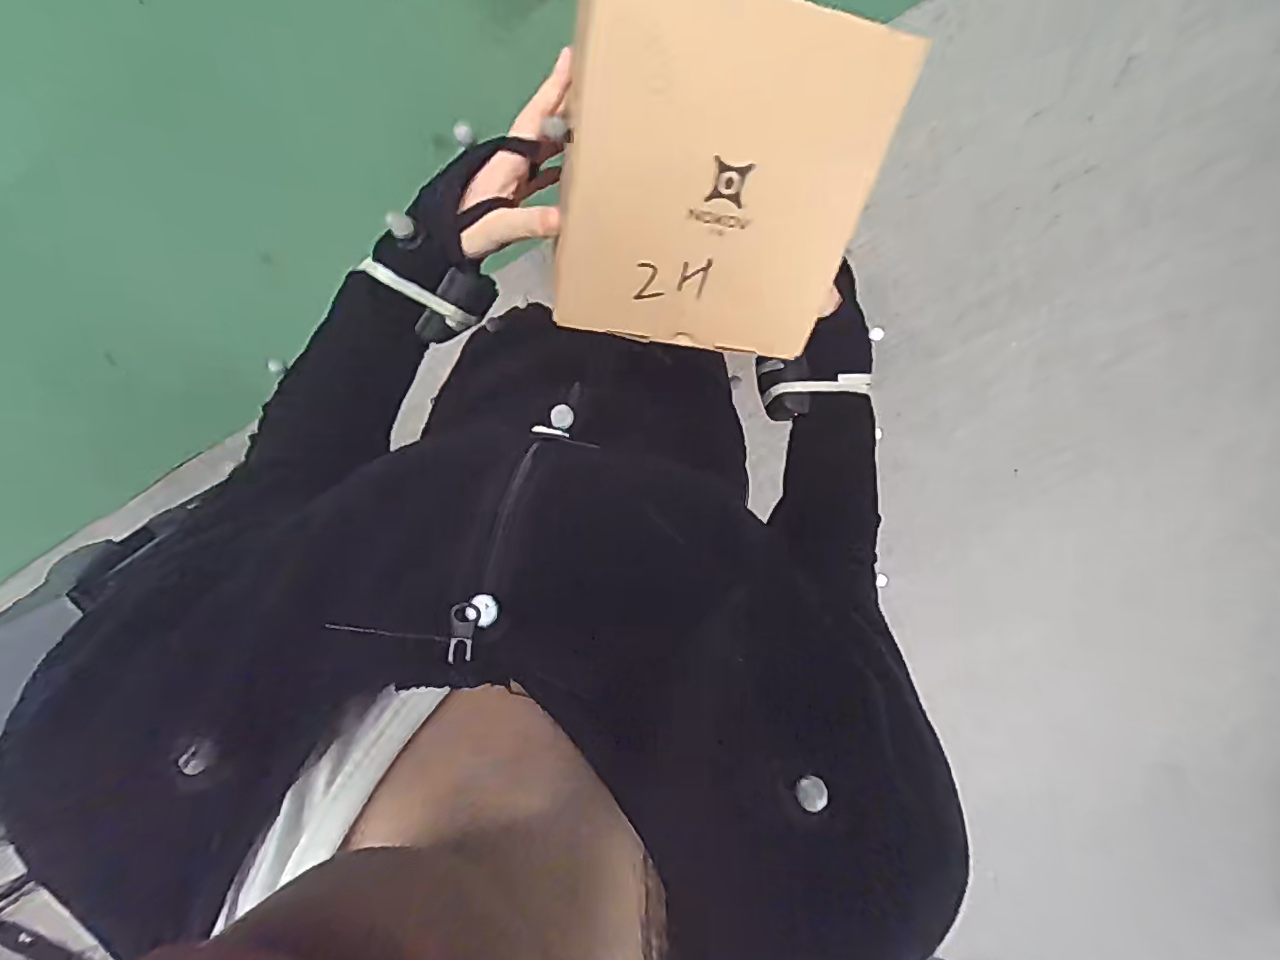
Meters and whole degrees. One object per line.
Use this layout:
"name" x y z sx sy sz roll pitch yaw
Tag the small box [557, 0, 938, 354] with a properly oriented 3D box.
"small box" 0.038 -0.208 0.351 0.168 0.176 0.179 6 128 -13
